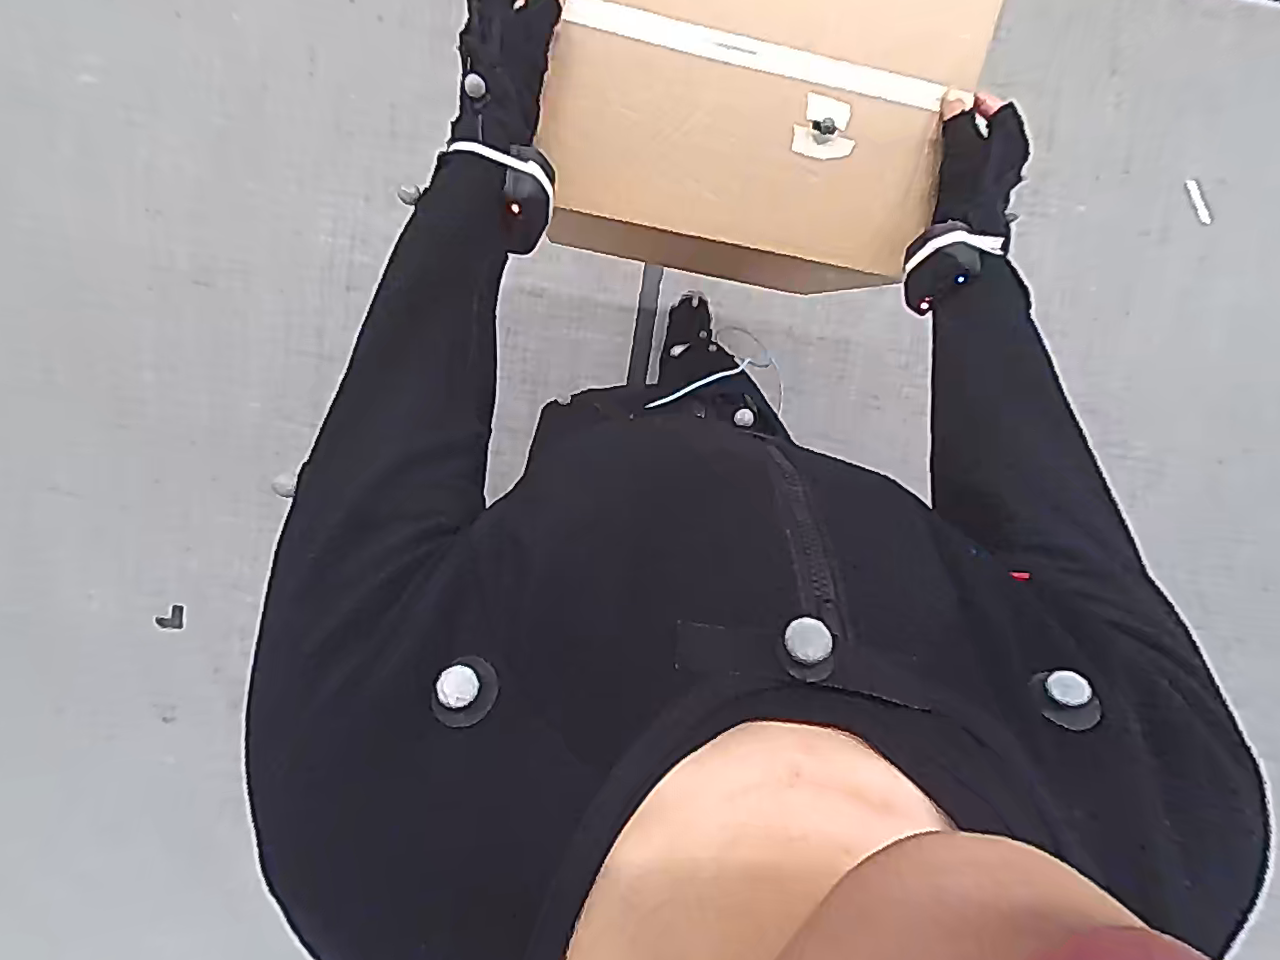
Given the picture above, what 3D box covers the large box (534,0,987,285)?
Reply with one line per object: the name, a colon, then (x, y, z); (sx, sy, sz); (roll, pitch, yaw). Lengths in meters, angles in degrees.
large box: (0.101, -0.434, 0.644); (0.408, 0.320, 0.320); (8, 106, -8)
